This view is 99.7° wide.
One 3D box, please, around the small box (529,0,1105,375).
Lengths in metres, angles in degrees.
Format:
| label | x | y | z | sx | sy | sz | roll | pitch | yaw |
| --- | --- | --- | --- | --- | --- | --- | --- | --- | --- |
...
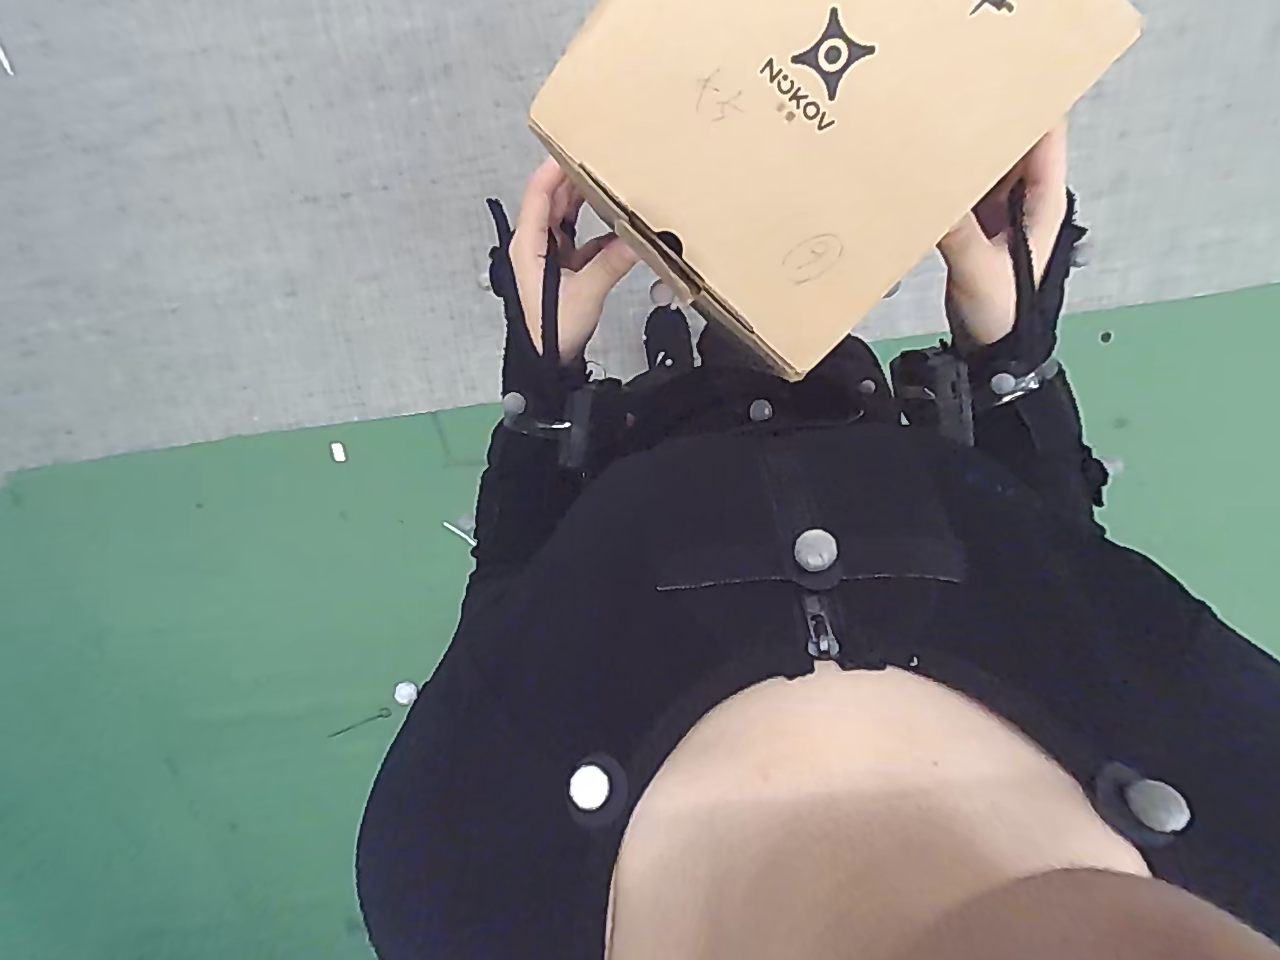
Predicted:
| label | x | y | z | sx | sy | sz | roll | pitch | yaw |
| --- | --- | --- | --- | --- | --- | --- | --- | --- | --- |
| small box | 0.075 | -0.178 | 0.301 | 0.168 | 0.176 | 0.179 | 43 | 104 | -4 |
